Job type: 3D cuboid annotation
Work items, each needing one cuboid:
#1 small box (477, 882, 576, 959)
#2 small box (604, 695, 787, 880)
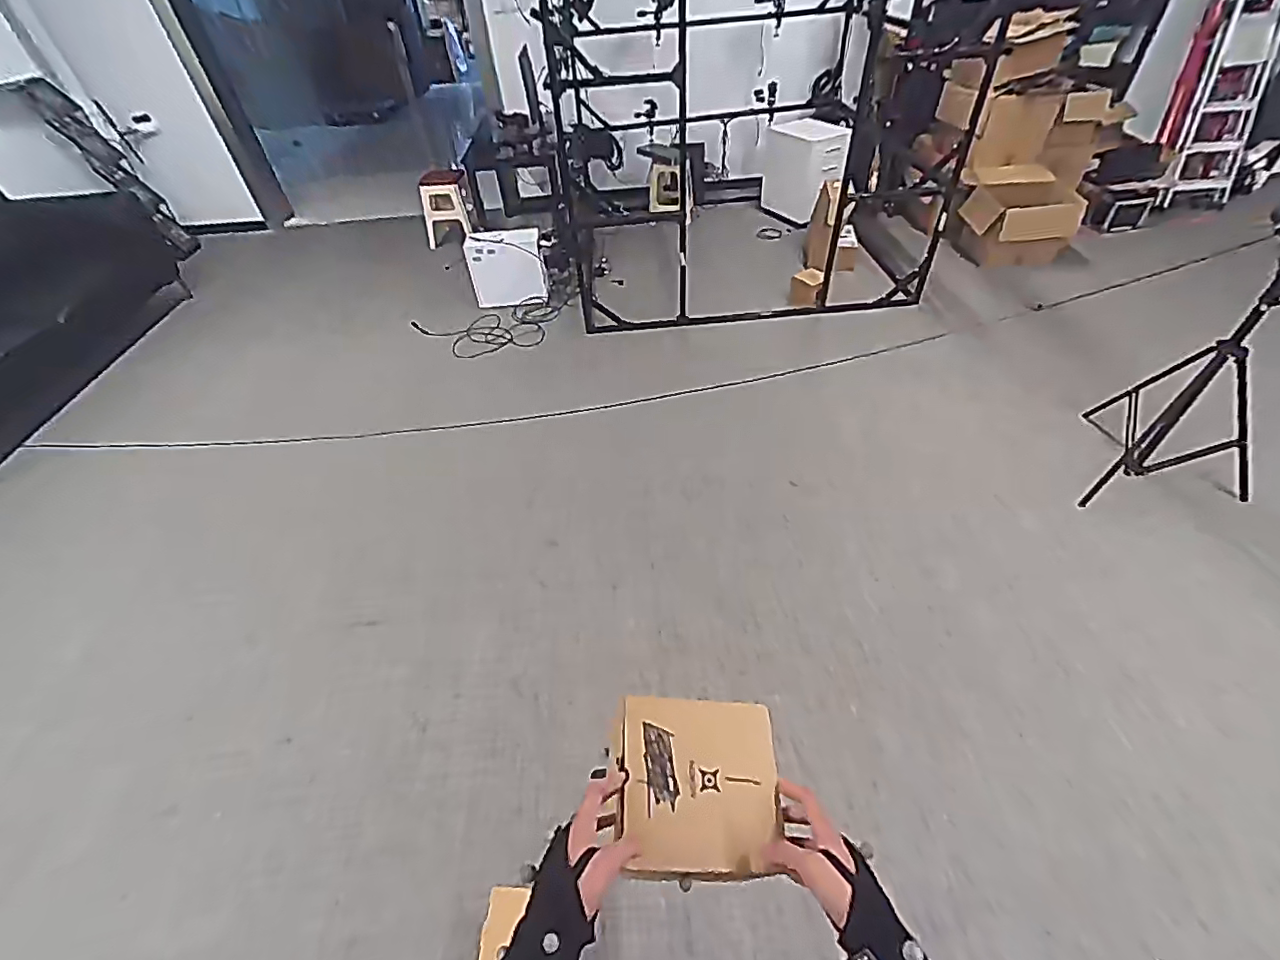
[{"bbox_3d":[-0.248,1.028,1.222,0.179,0.176,0.168,0,46,6],"label":"small box"},{"bbox_3d":[0.053,0.372,0.648,0.179,0.176,0.168,7,51,-7],"label":"small box"}]
